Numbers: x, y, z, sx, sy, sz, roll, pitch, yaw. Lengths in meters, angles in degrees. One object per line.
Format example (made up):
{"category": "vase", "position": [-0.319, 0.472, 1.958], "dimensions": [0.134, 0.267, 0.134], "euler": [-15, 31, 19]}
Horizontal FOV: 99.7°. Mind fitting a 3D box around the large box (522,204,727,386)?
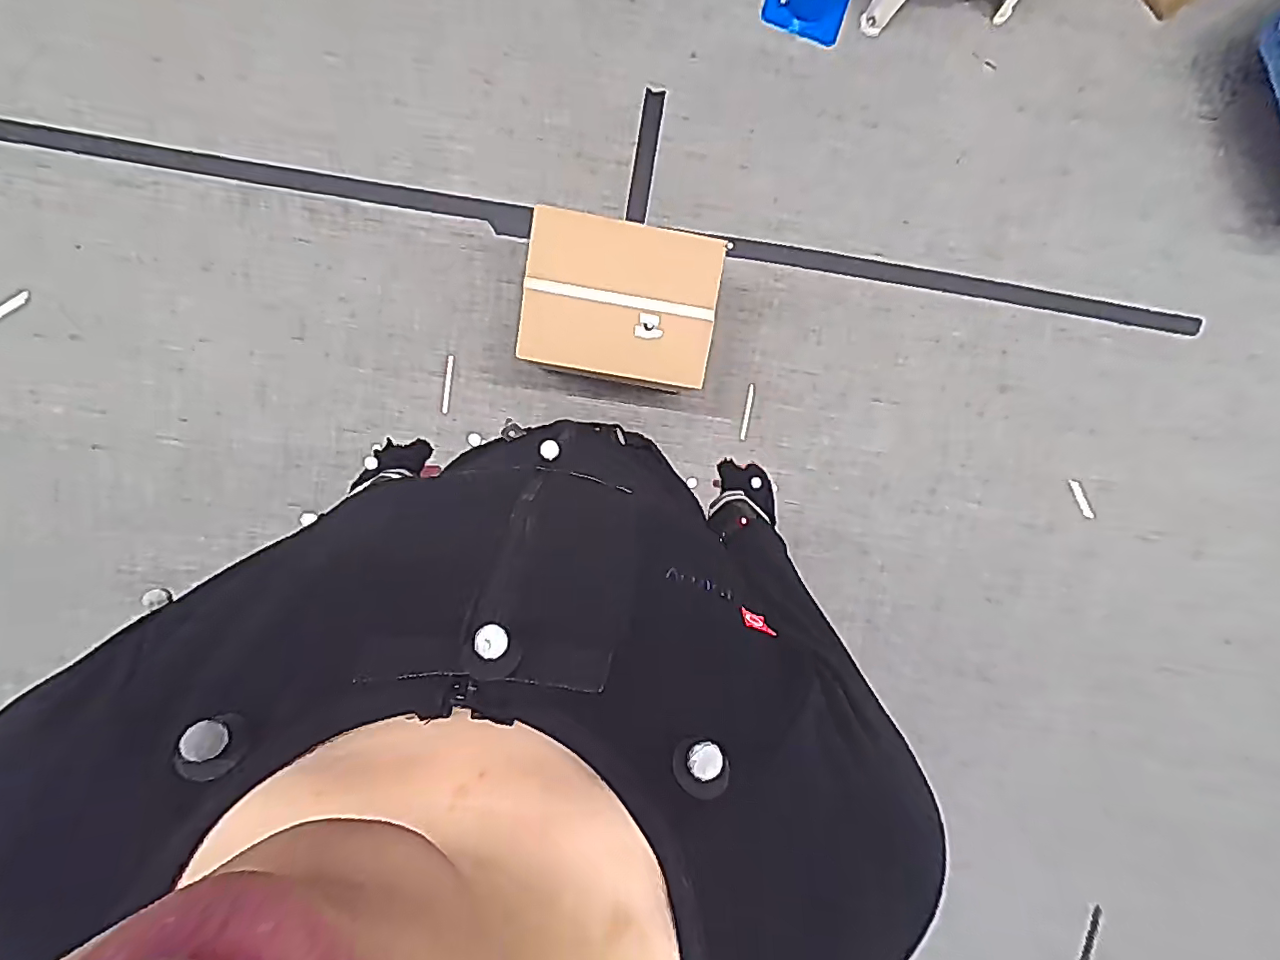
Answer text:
{"category": "large box", "position": [-0.045, -0.409, 1.281], "dimensions": [0.408, 0.320, 0.320], "euler": [8, 98, -5]}
